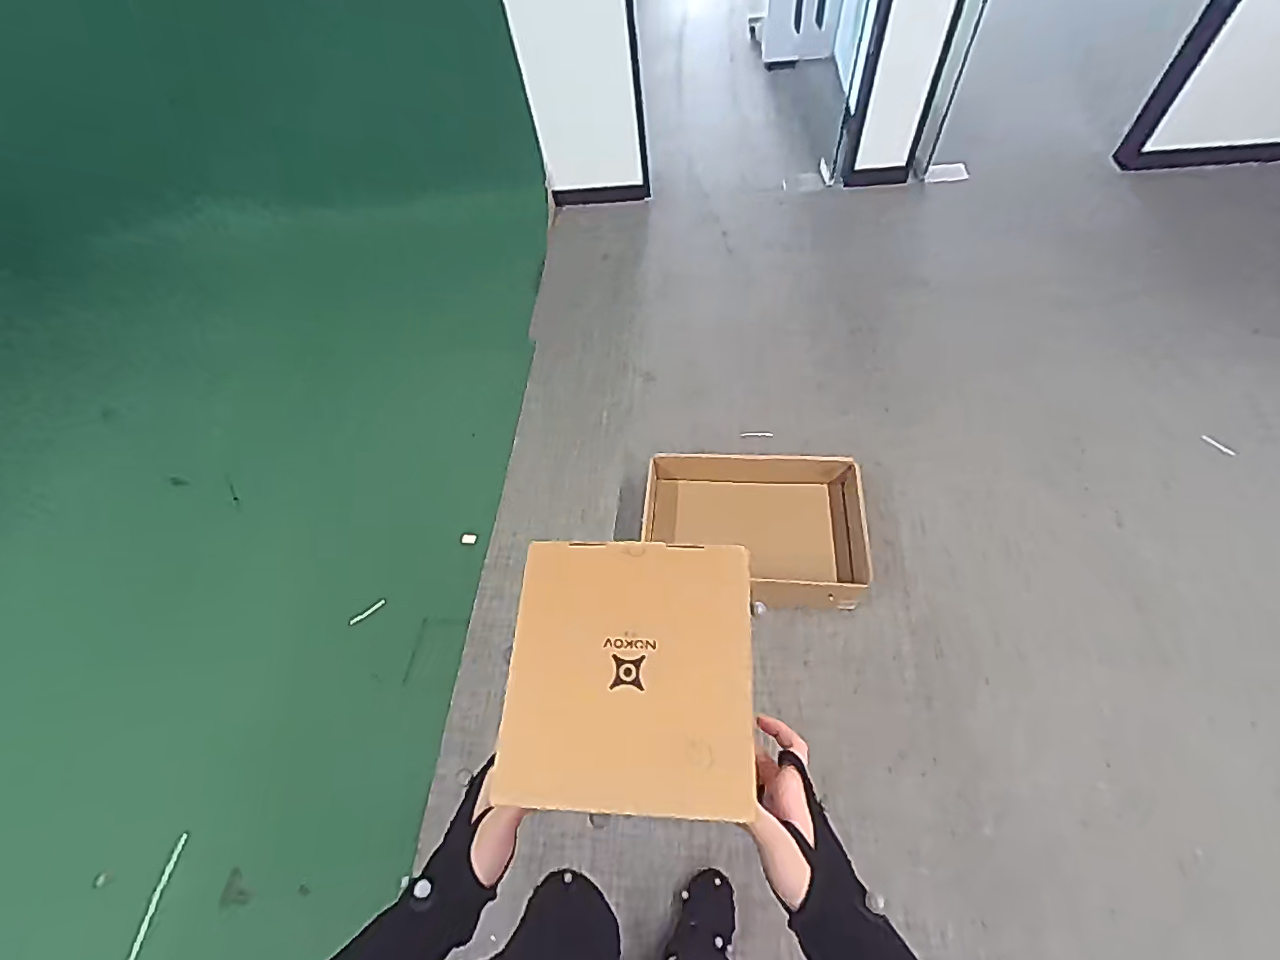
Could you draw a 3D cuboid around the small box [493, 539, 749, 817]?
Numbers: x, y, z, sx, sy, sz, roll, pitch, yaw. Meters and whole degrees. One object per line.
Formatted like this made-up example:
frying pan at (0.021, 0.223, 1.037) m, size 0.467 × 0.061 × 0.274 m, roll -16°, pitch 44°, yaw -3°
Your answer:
small box at (-0.001, 0.160, 0.439) m, size 0.168 × 0.176 × 0.179 m, roll 0°, pitch 62°, yaw 6°
